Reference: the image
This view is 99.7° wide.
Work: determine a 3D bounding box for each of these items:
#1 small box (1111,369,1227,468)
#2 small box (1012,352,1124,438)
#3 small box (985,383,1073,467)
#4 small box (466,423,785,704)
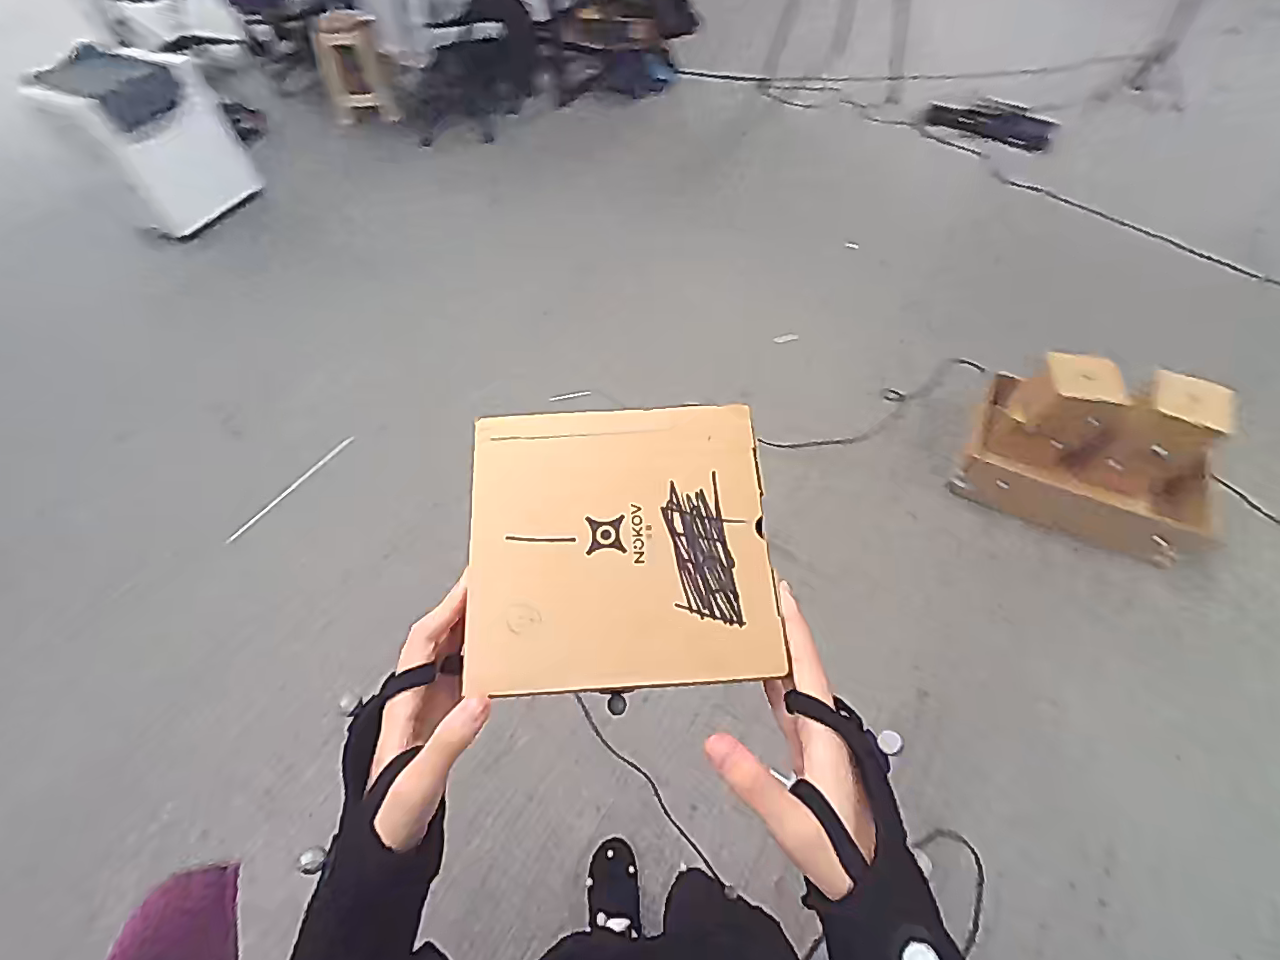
[{"bbox_3d":[1.449,-0.168,1.489,0.168,0.176,0.179,24,61,18],"label":"small box"},{"bbox_3d":[1.215,-0.239,1.549,0.179,0.176,0.168,9,59,7],"label":"small box"},{"bbox_3d":[1.220,-0.167,1.695,0.179,0.176,0.168,23,62,15],"label":"small box"},{"bbox_3d":[-0.010,0.069,0.393,0.179,0.176,0.168,-2,69,-1],"label":"small box"}]
